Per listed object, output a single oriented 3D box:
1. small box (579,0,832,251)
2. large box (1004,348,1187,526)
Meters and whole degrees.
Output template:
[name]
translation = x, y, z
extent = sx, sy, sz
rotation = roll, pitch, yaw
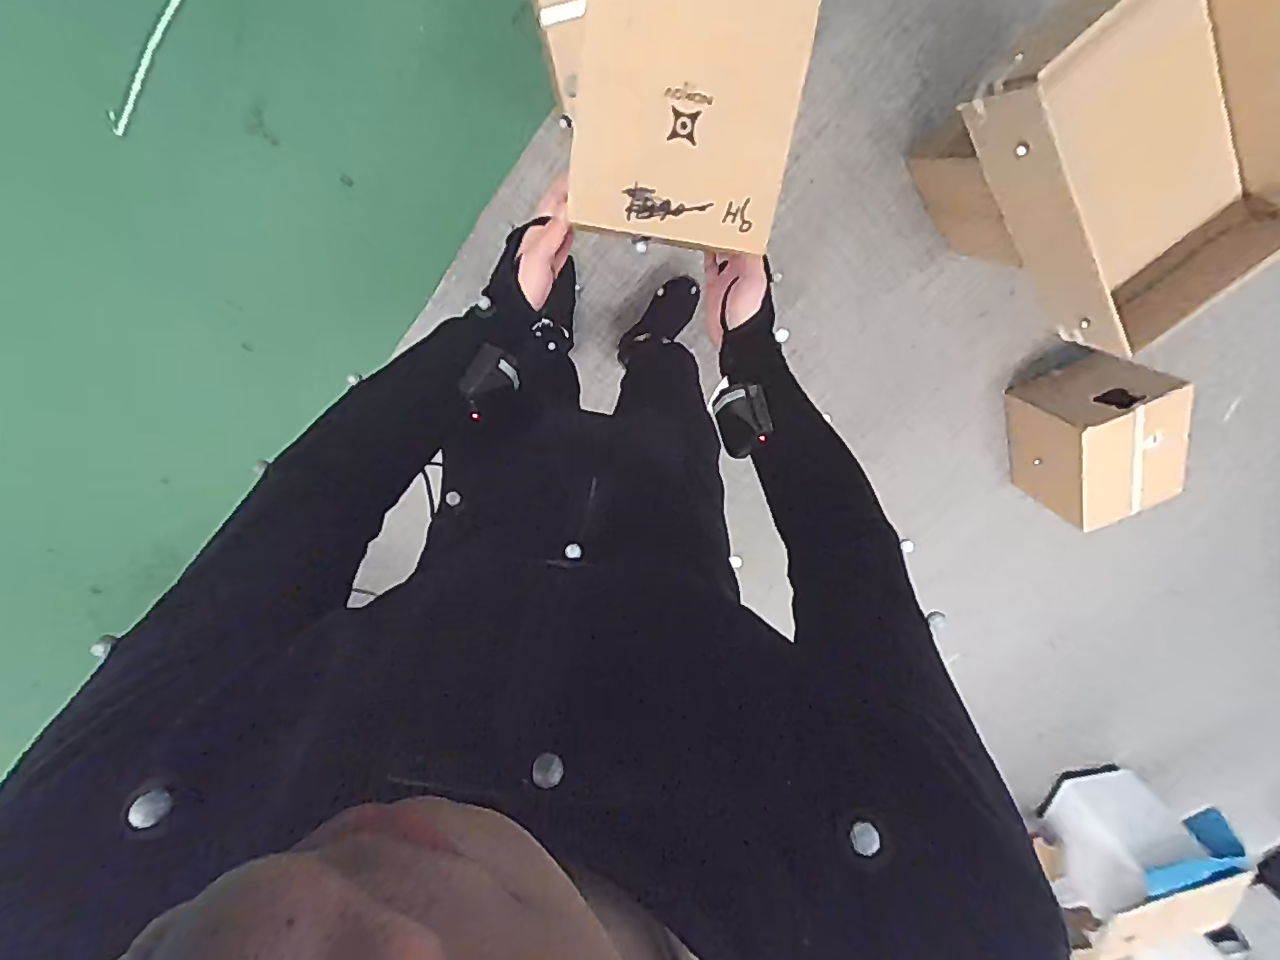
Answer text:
[small box]
translation = 0.037, -0.306, 0.472
extent = 0.168, 0.176, 0.179
rotation = 6, 113, -8
[large box]
translation = 1.417, -0.139, 1.710
extent = 0.320, 0.320, 0.408
rotation = -26, 120, 5
